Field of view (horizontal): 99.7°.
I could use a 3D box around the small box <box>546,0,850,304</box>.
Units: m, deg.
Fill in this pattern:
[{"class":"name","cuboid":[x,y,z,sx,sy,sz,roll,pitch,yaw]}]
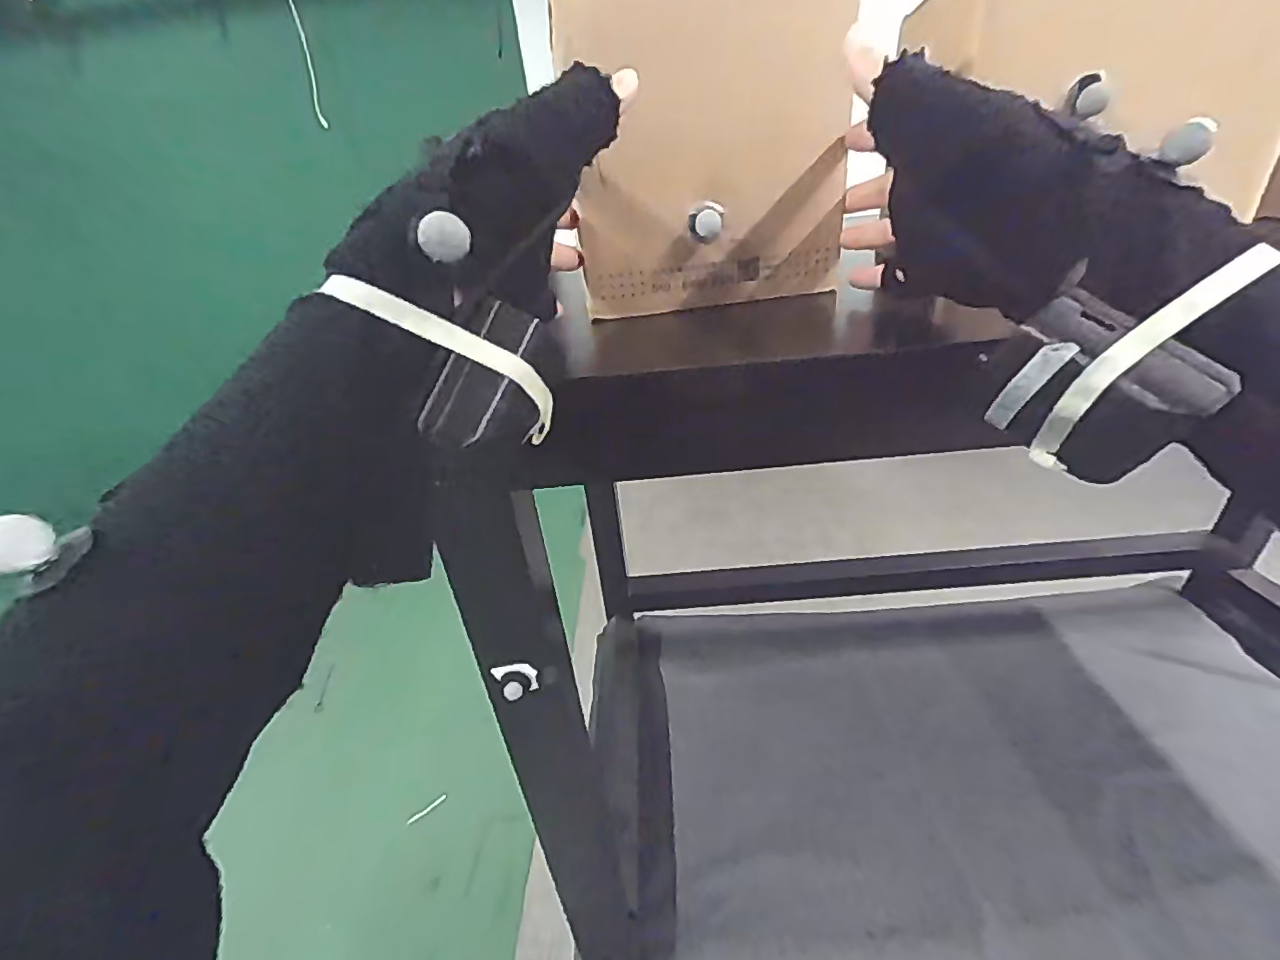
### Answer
[{"class":"small box","cuboid":[0.029,-0.230,0.390,0.168,0.176,0.179,-9,28,-4]}]
